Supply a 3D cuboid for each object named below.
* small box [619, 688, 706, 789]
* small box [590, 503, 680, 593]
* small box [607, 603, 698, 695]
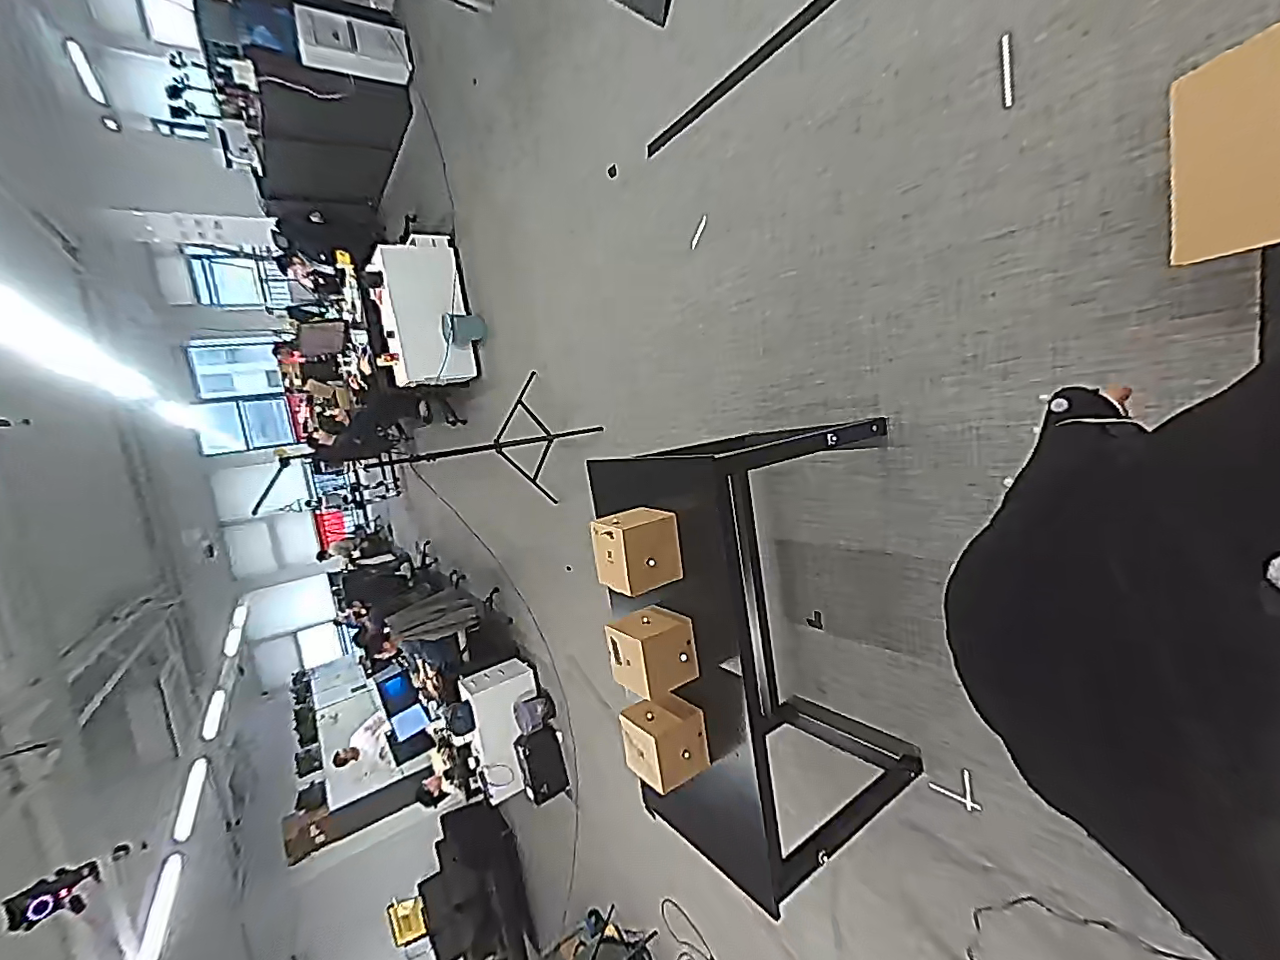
[{"bbox_3d":[0.068,0.706,1.502,0.179,0.176,0.168,2,103,56],"label":"small box"},{"bbox_3d":[-0.008,0.171,1.422,0.168,0.176,0.179,7,108,56],"label":"small box"},{"bbox_3d":[0.033,0.446,1.461,0.179,0.176,0.168,2,103,56],"label":"small box"}]
